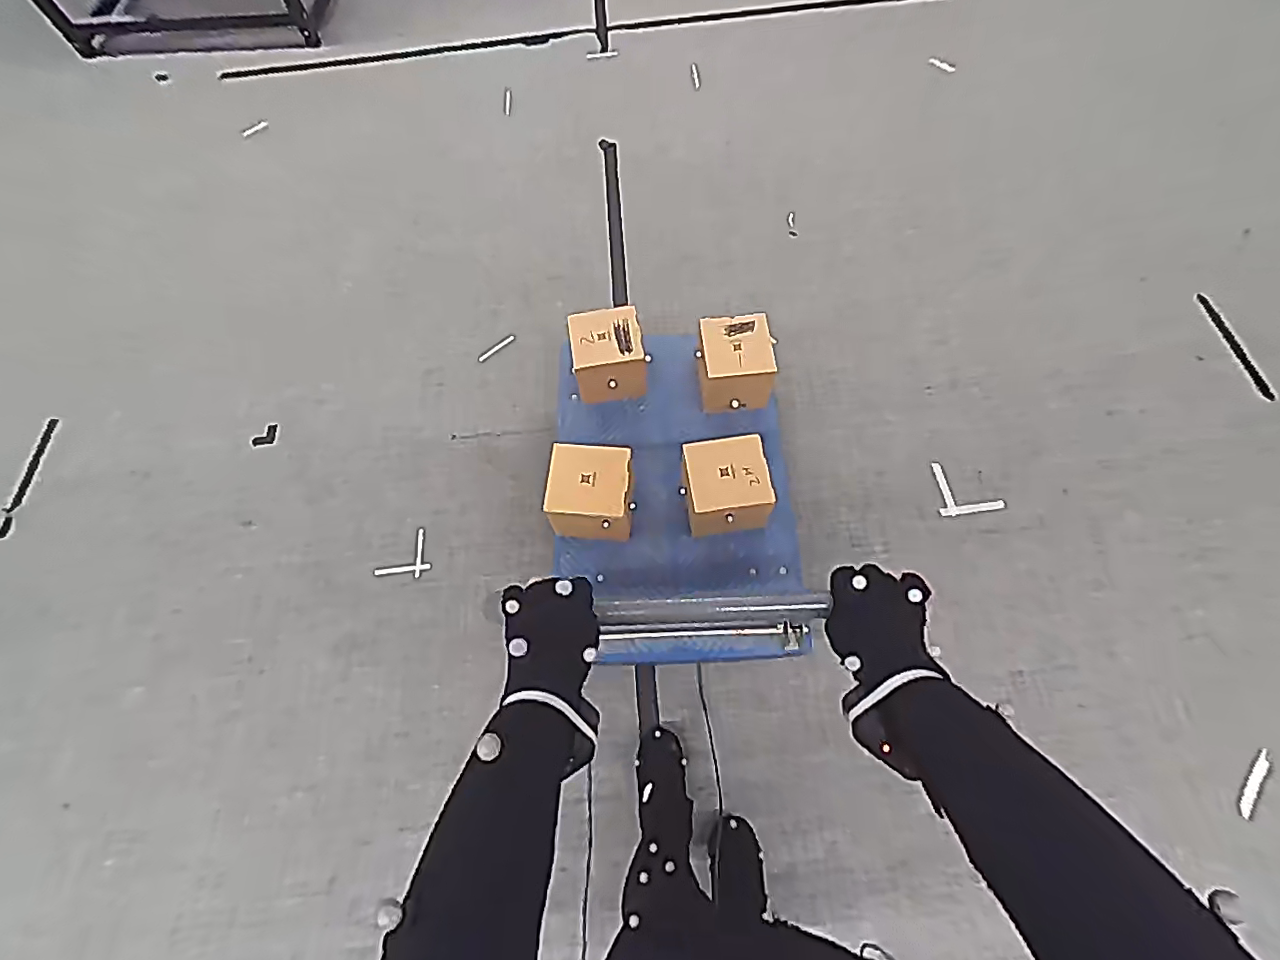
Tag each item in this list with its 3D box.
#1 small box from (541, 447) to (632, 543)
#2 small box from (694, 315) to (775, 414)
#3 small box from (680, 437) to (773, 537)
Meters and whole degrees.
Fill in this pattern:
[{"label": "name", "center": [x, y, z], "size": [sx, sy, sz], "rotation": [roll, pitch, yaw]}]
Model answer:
[{"label": "small box", "center": [-0.115, 0.039, 1.239], "size": [0.179, 0.176, 0.168], "rotation": [3, 66, 3]}, {"label": "small box", "center": [0.230, -0.288, 1.365], "size": [0.168, 0.176, 0.179], "rotation": [-6, 67, 1]}, {"label": "small box", "center": [0.189, 0.022, 1.231], "size": [0.179, 0.176, 0.168], "rotation": [-8, 66, -1]}]
